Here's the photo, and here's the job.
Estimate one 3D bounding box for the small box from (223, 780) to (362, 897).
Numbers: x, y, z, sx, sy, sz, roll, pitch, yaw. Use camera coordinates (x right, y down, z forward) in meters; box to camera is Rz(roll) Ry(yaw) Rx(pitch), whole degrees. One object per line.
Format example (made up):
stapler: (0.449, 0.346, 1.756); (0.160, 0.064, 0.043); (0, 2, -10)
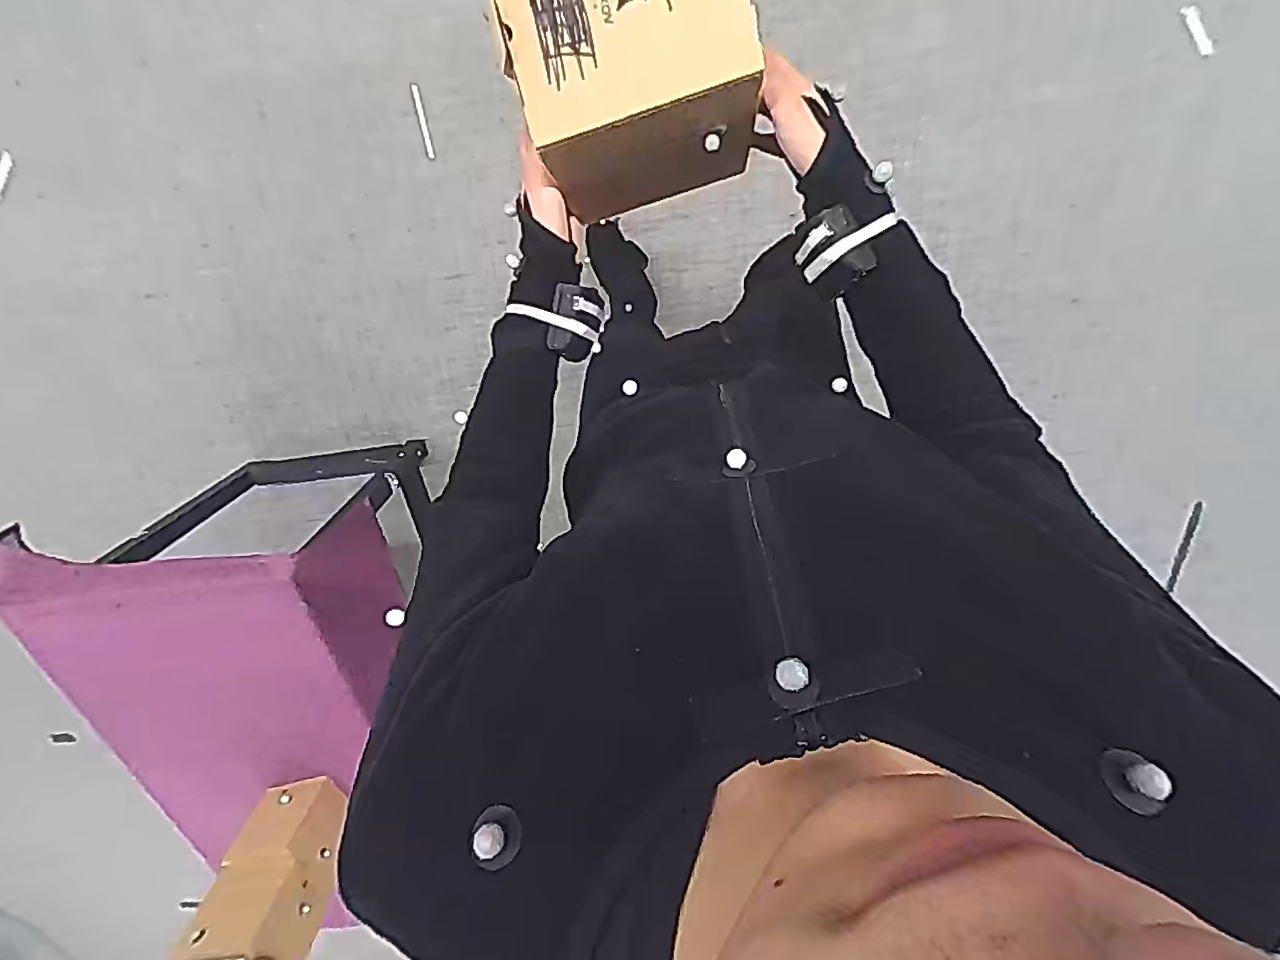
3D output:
small box: (-0.777, 0.825, 1.233); (0.168, 0.176, 0.179); (-16, 115, 7)

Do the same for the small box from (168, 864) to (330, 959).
small box: (-0.779, 0.918, 1.095); (0.179, 0.176, 0.168); (-12, 116, 5)
